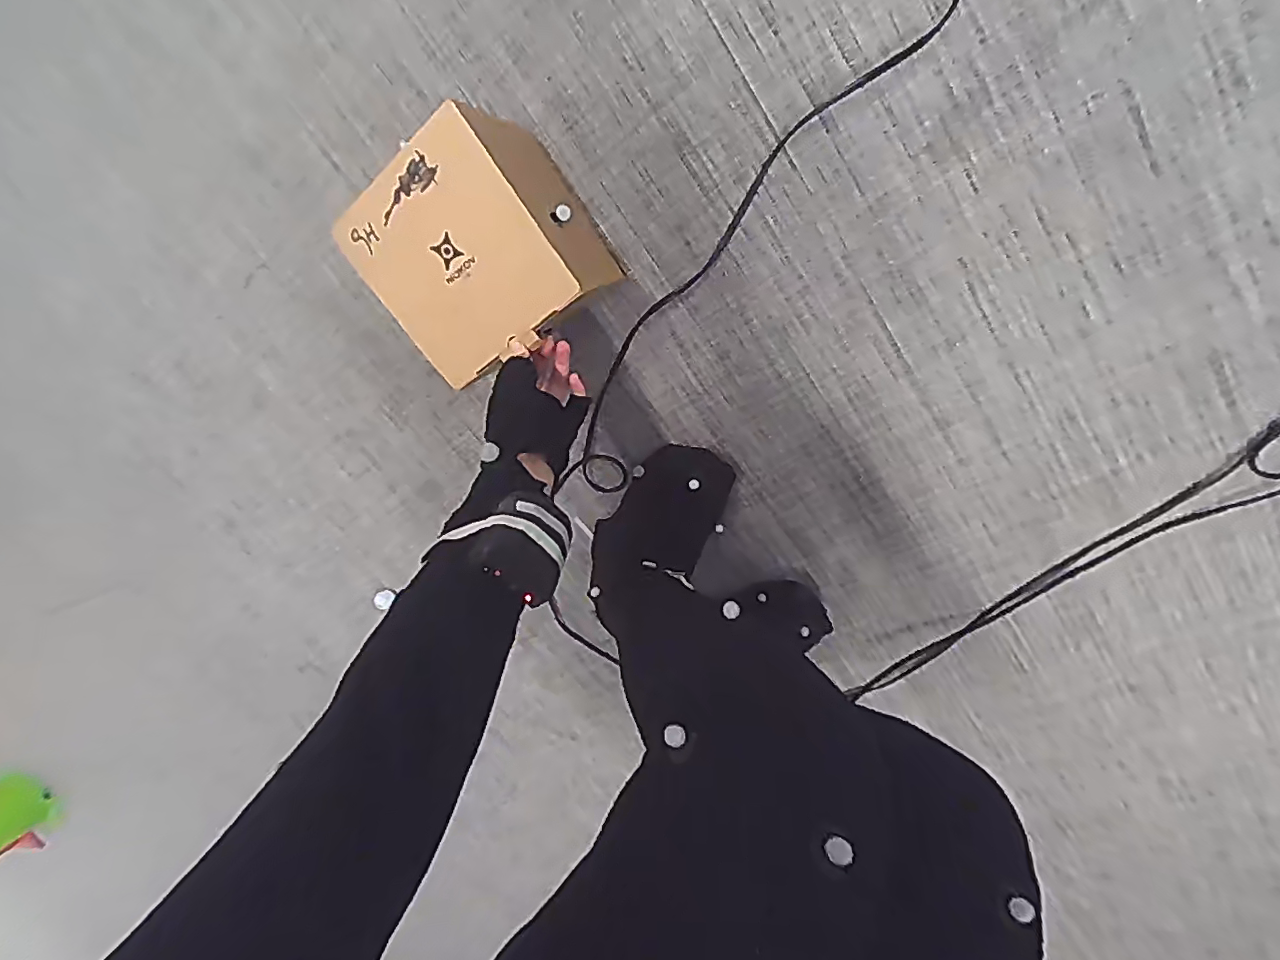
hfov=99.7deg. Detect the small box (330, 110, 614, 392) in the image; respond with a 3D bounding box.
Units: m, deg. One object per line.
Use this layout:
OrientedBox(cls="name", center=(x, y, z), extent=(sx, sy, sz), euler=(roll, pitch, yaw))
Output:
OrientedBox(cls="small box", center=(-0.147, -0.221, 0.539), extent=(0.168, 0.176, 0.179), euler=(-30, 107, 22))
